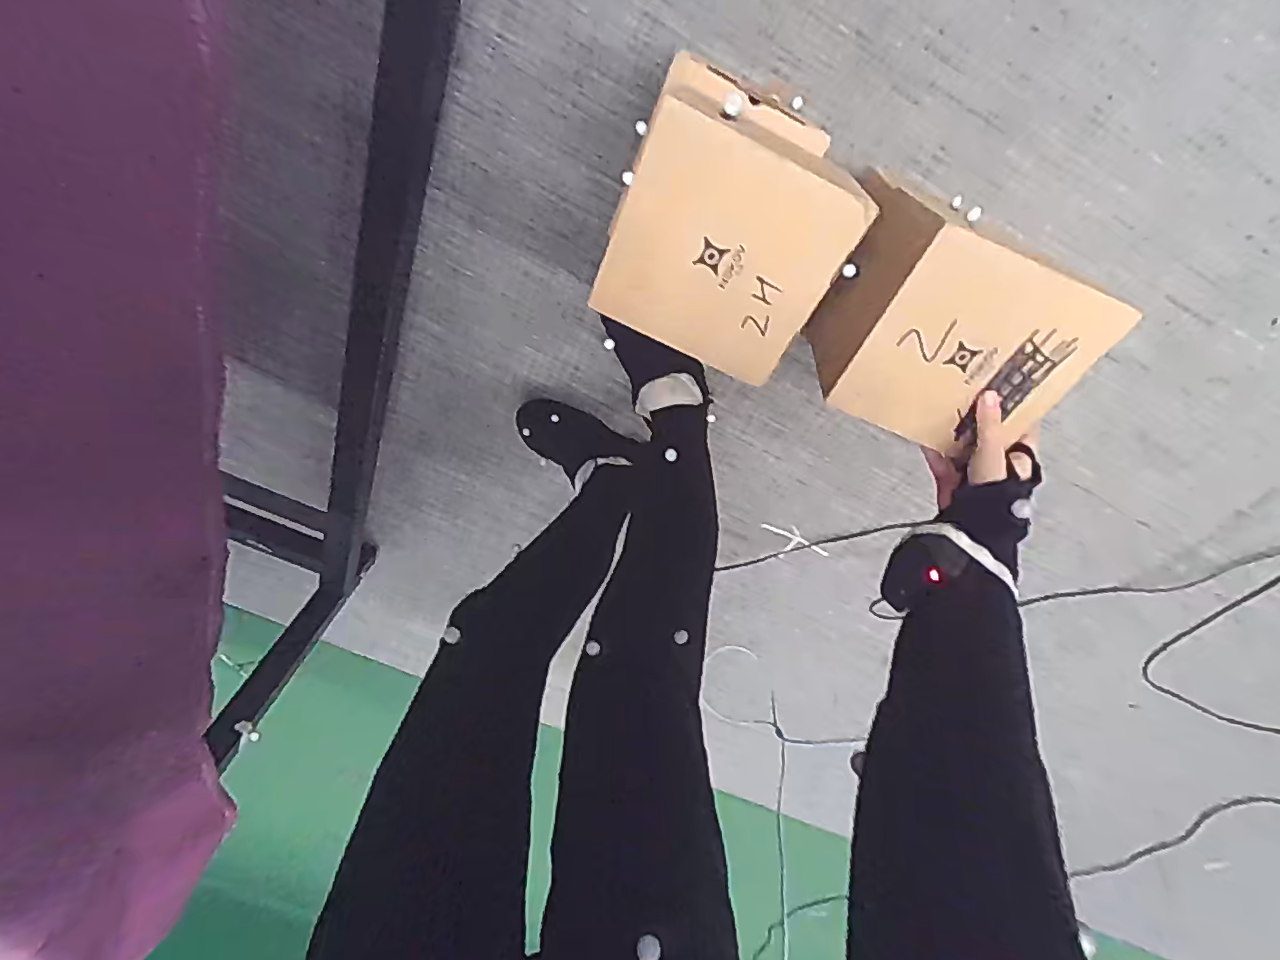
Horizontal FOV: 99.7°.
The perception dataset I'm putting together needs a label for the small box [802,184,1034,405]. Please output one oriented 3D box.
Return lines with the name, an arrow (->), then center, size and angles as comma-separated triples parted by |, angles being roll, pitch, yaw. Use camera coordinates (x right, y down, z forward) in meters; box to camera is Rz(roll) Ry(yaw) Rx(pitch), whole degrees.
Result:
small box -> 0.311, -0.227, 0.654 | 0.168, 0.176, 0.179 | 22, 127, -6
